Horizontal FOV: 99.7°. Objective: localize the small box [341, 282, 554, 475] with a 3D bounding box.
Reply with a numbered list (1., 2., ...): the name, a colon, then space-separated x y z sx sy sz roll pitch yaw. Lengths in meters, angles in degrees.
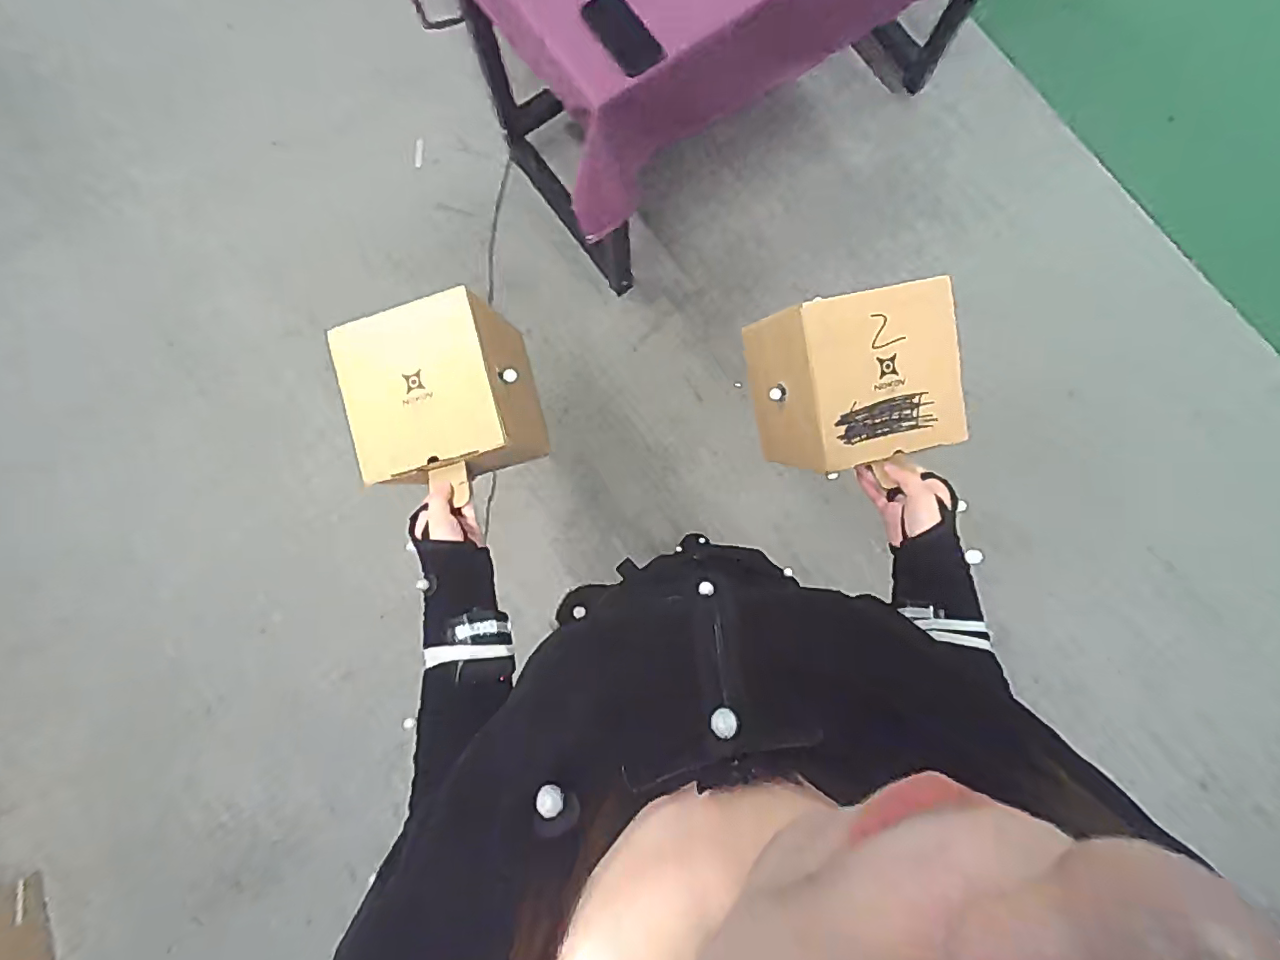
1. small box: -0.220 -0.108 0.658 0.168 0.176 0.179 -15 88 8
